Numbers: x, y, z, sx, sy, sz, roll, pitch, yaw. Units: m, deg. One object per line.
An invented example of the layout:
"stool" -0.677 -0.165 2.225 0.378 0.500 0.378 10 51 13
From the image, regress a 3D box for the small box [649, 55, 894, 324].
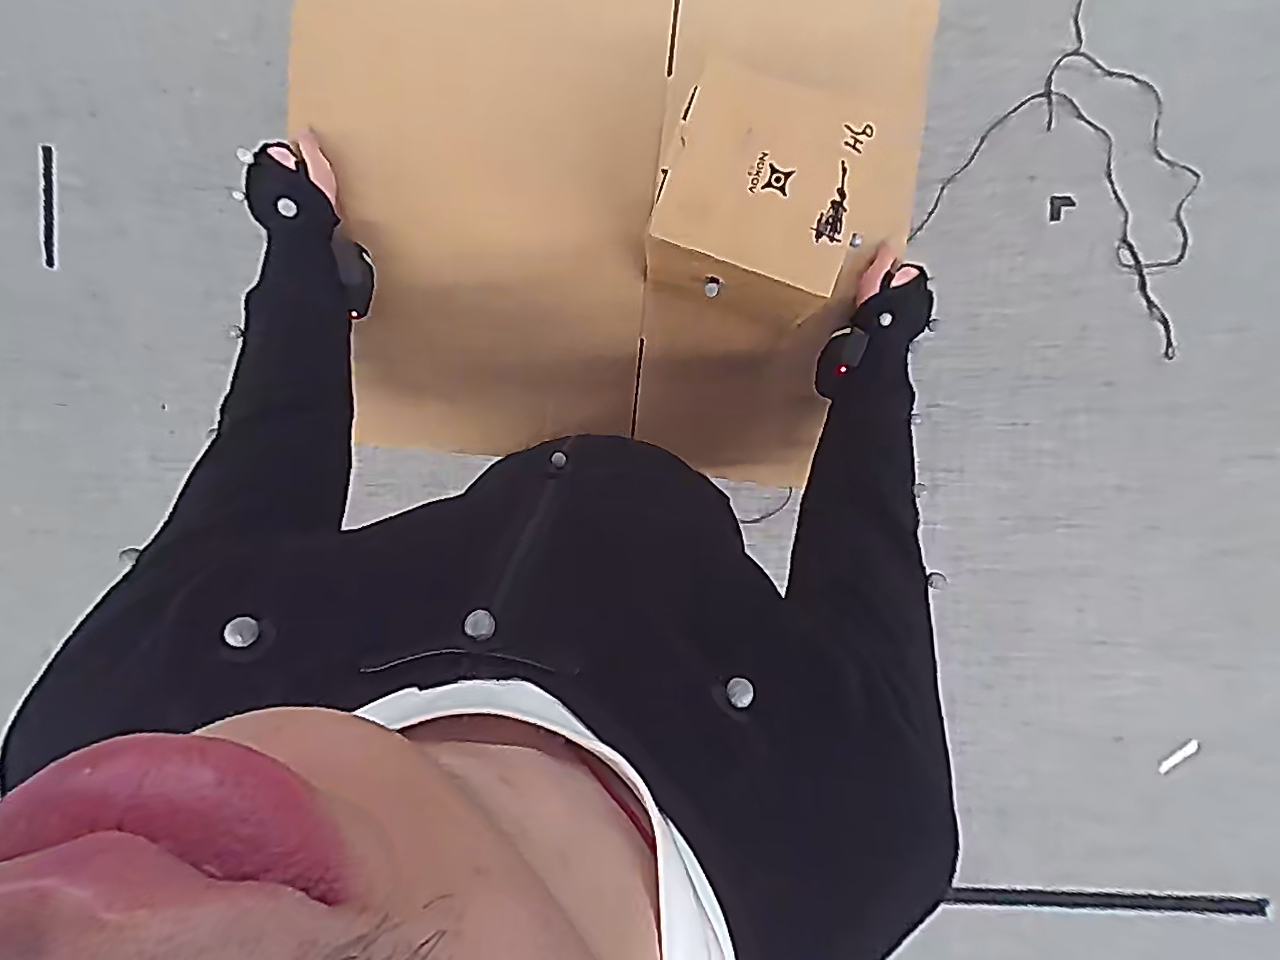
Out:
"small box" 0.119 -0.277 0.560 0.179 0.176 0.168 20 95 2
